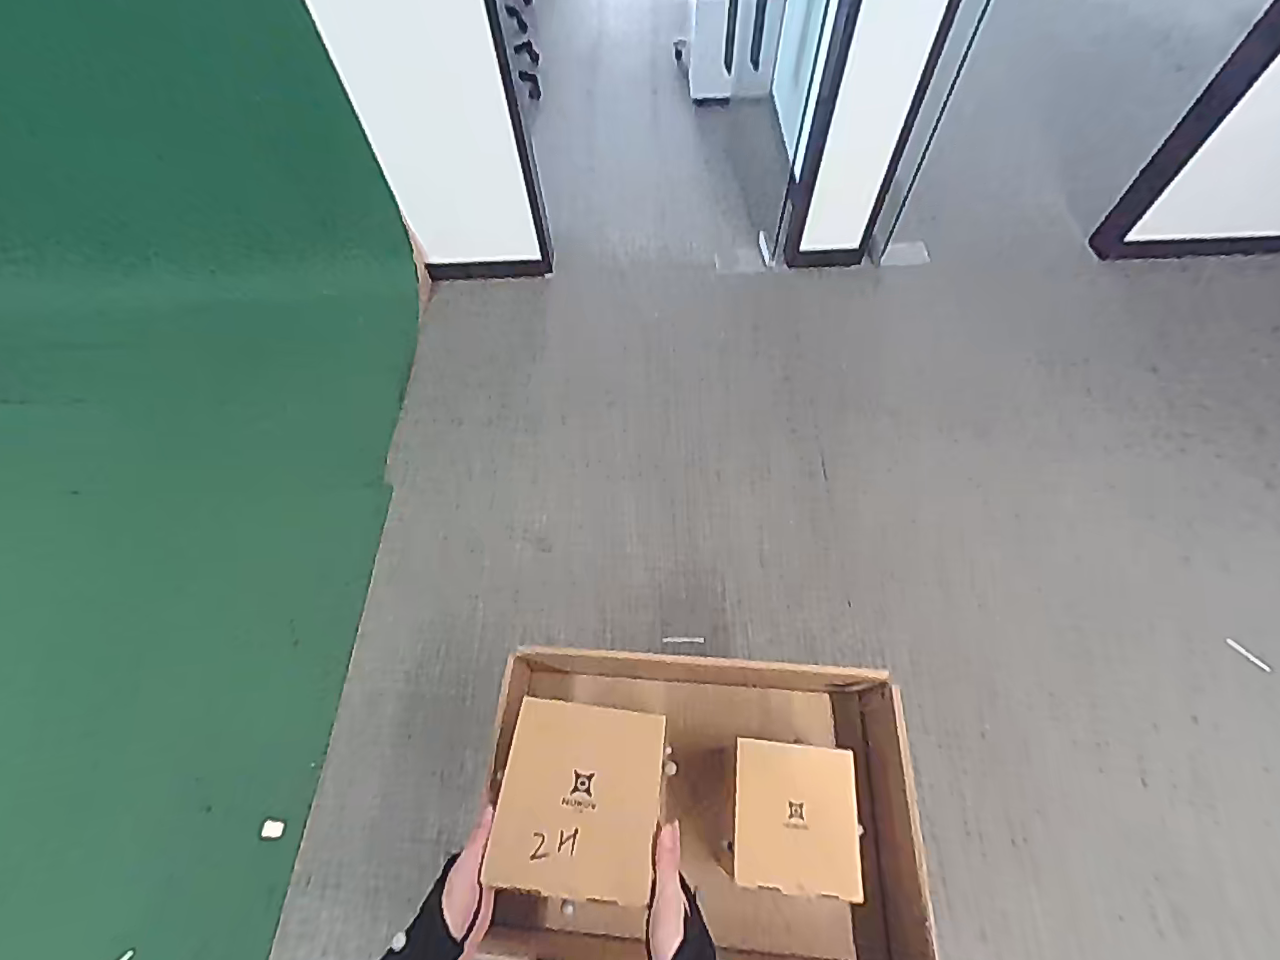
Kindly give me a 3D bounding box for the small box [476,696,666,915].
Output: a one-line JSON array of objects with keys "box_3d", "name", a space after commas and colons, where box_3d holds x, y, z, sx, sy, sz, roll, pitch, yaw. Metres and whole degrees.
[{"box_3d": [-0.066, 0.368, 0.609, 0.168, 0.176, 0.179, 6, 51, 3], "name": "small box"}]
